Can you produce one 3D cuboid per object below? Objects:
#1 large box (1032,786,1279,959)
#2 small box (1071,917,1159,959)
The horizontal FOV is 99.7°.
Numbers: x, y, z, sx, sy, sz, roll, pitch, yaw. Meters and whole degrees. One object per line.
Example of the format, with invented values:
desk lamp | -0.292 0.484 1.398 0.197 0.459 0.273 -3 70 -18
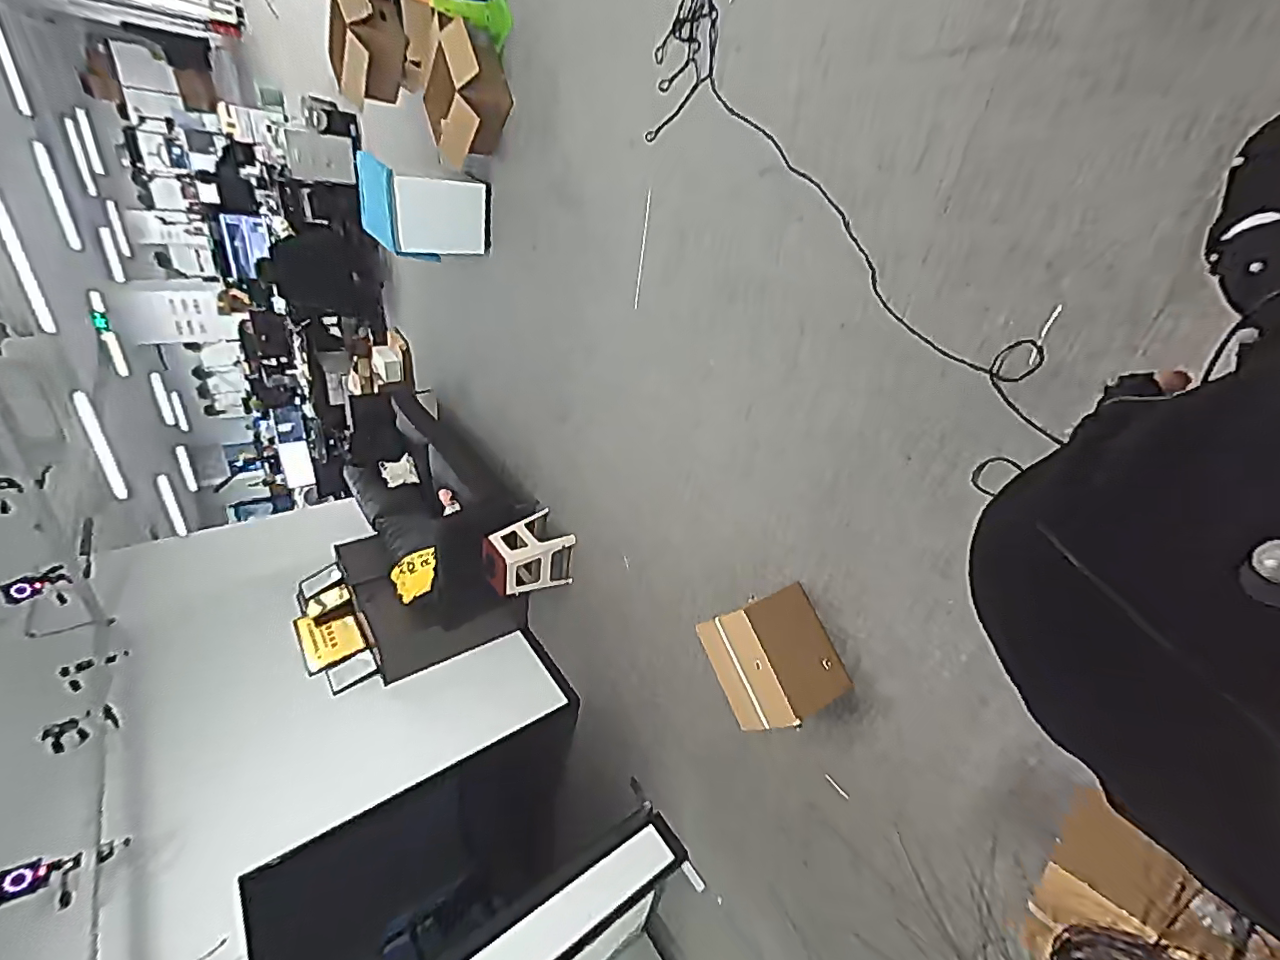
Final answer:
large box | 1.181 0.996 1.196 0.408 0.320 0.320 24 122 47
small box | 0.969 1.043 1.078 0.179 0.176 0.168 29 123 47
